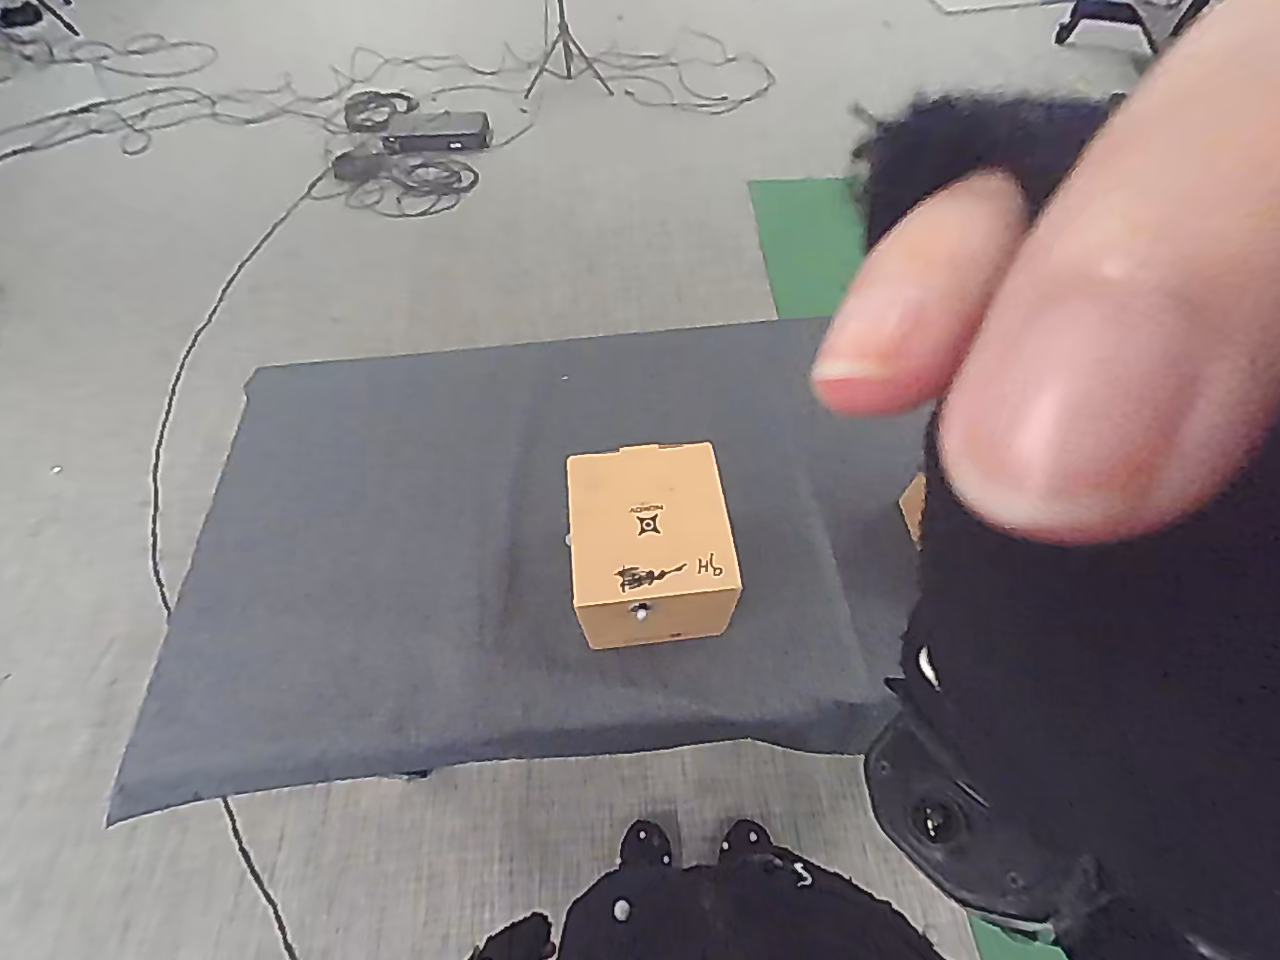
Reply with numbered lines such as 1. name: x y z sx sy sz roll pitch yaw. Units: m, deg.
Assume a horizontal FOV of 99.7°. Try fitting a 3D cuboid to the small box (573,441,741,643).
1. small box: 0.013 0.077 0.639 0.168 0.176 0.179 -6 59 -1
